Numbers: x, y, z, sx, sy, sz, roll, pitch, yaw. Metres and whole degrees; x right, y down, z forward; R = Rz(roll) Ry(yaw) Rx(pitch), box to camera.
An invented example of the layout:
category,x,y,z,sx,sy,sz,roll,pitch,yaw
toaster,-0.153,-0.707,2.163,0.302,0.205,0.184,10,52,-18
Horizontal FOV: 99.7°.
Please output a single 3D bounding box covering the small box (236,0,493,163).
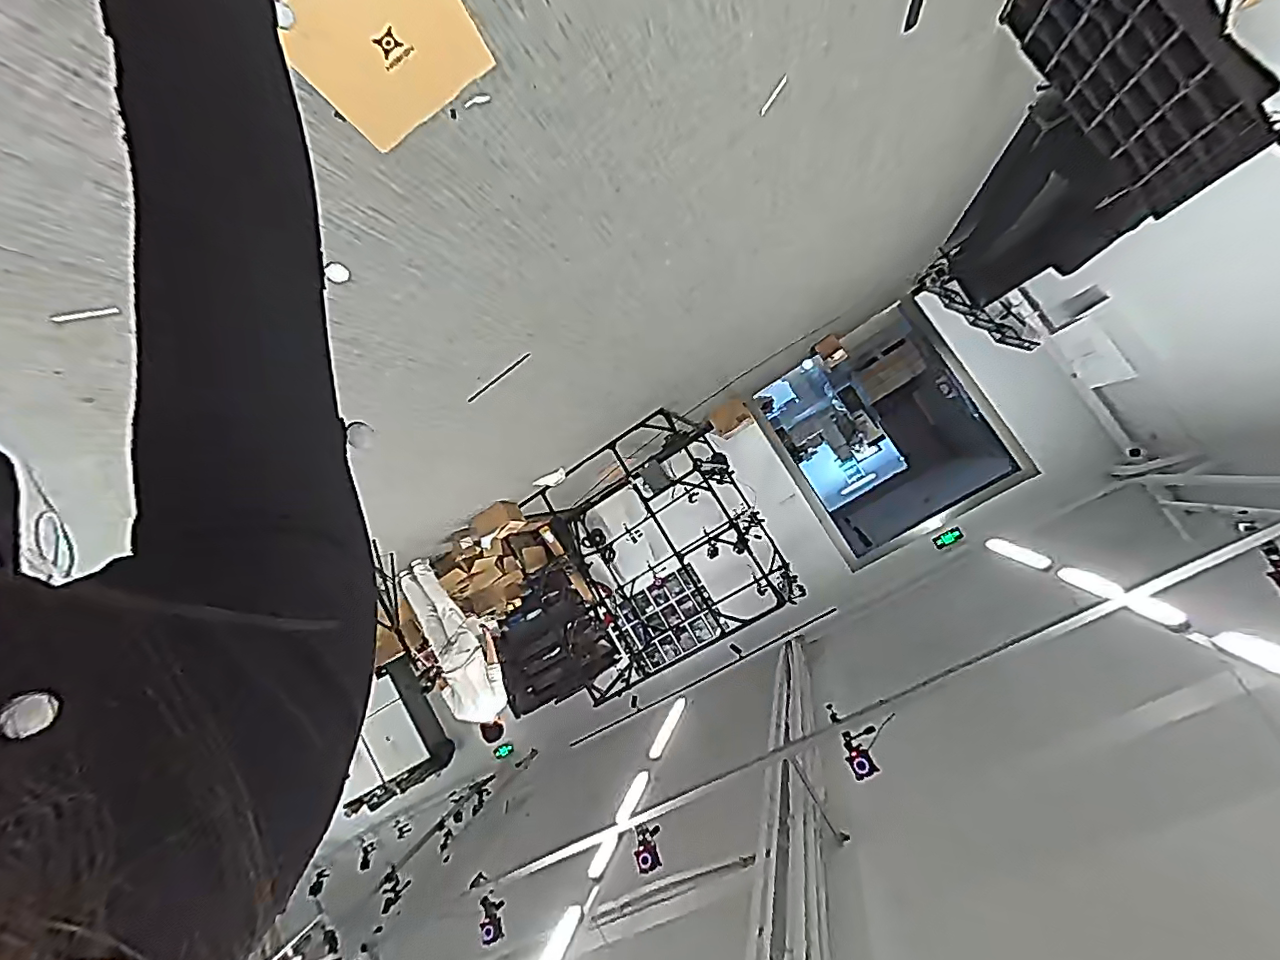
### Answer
category,x,y,z,sx,sy,sz,roll,pitch,yaw
small box,-0.287,-0.479,0.539,0.168,0.176,0.179,-33,174,8
